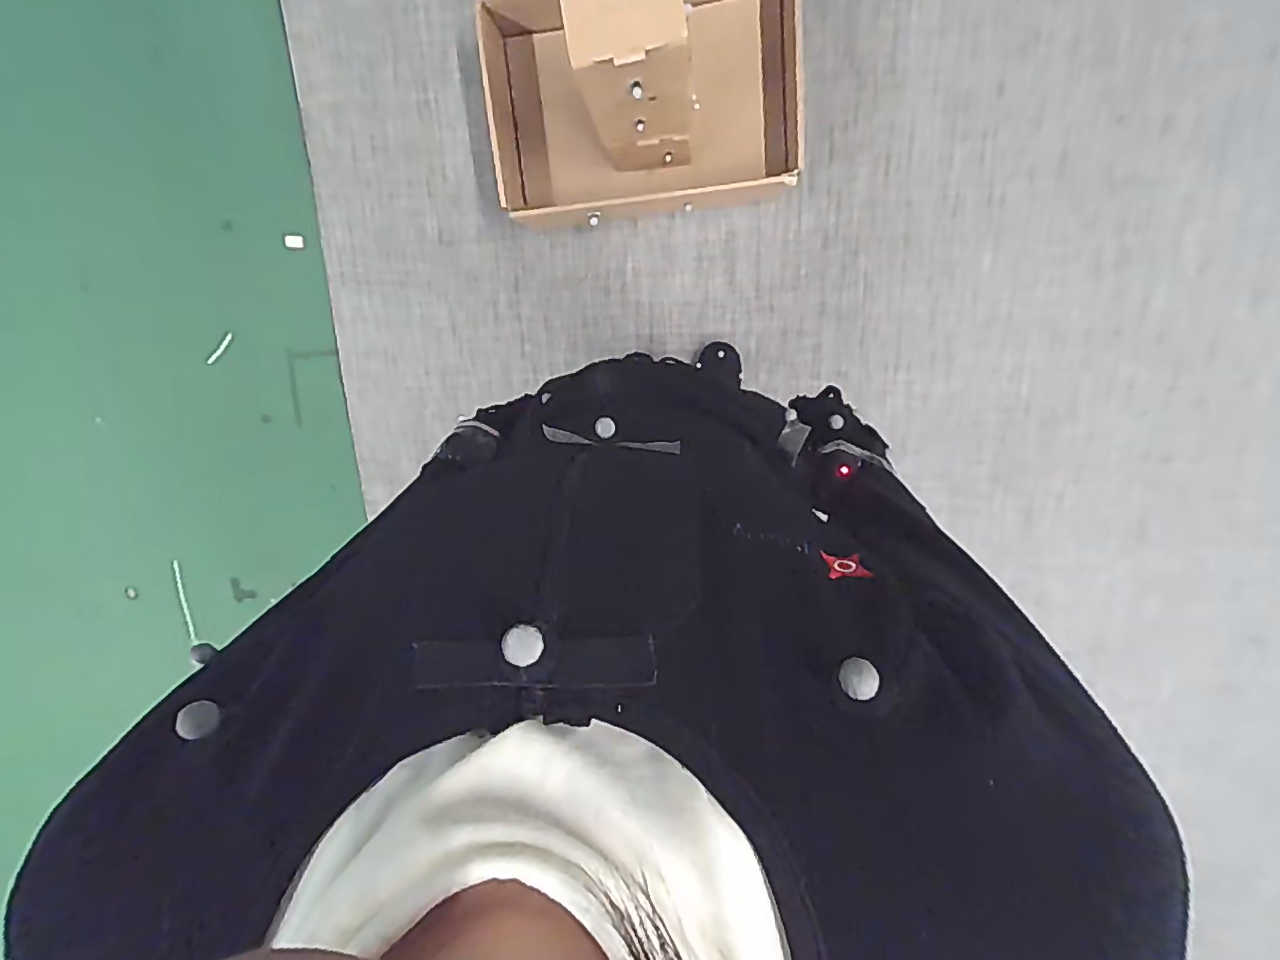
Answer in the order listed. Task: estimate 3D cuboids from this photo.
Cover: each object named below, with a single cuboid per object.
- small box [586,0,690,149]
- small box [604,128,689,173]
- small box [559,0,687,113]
[{"bbox_3d":[-0.002,-0.714,0.959,0.179,0.176,0.168,-3,104,8],"label":"small box"},{"bbox_3d":[0.015,-0.753,1.117,0.168,0.176,0.179,-2,102,6],"label":"small box"},{"bbox_3d":[-0.021,-0.675,0.802,0.168,0.176,0.179,-6,104,8],"label":"small box"}]
